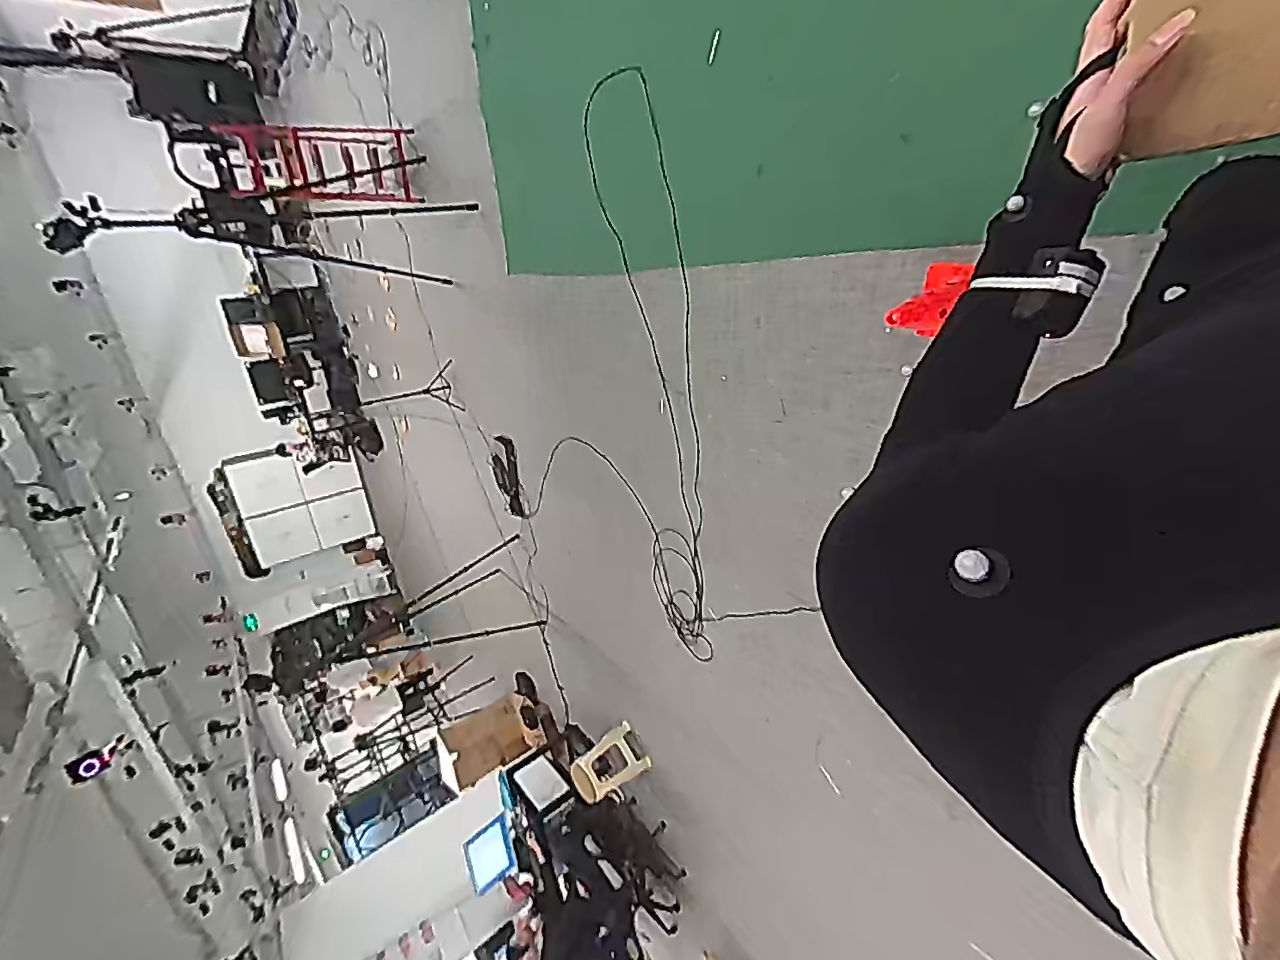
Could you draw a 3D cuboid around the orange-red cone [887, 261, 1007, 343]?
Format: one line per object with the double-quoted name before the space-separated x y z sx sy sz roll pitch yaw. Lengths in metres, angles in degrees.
"orange-red cone" 0.739 -0.440 1.384 0.199 0.360 0.198 30 129 44
